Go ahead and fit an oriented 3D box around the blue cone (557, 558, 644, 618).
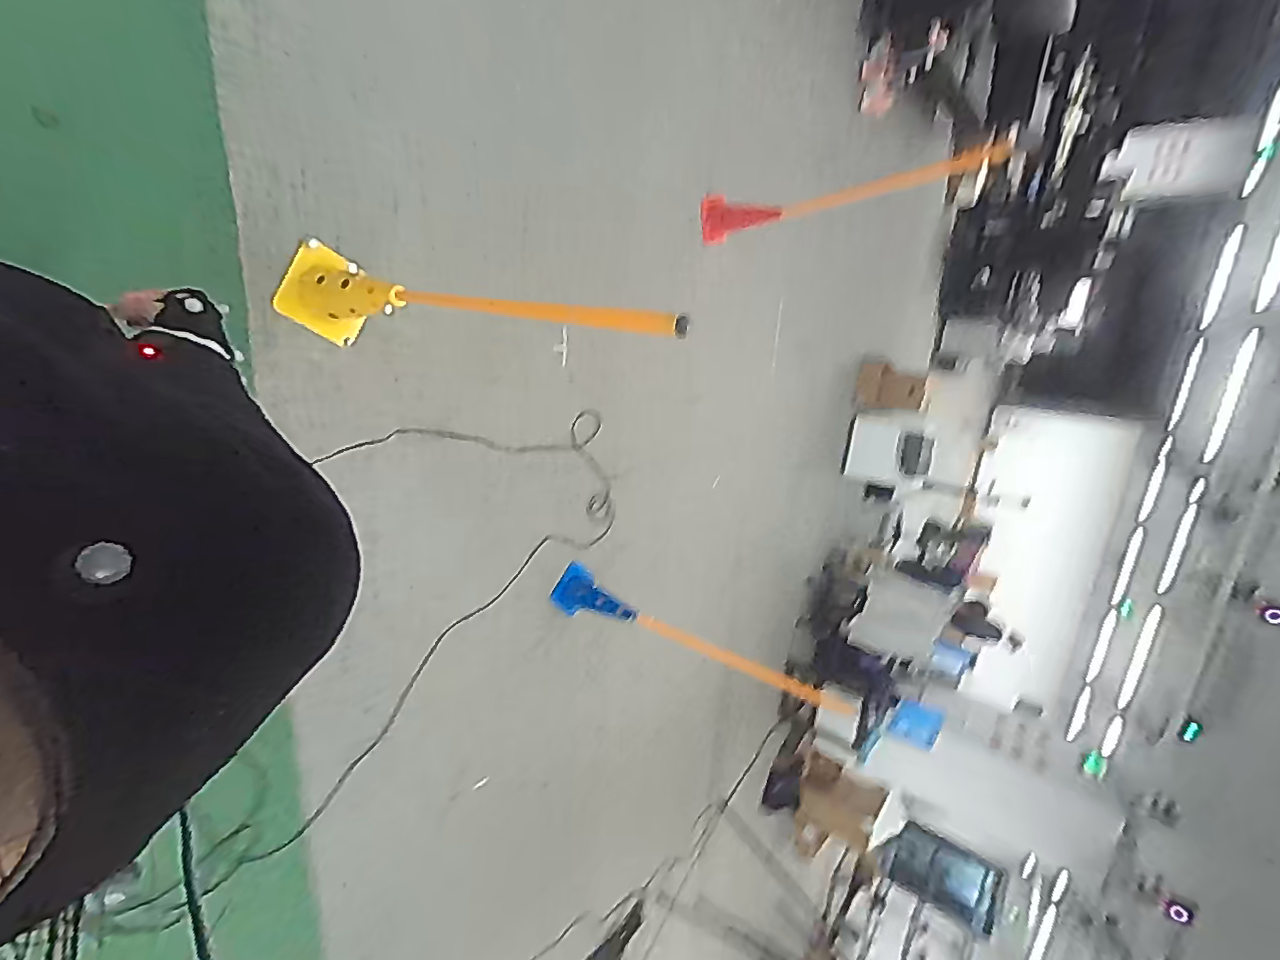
[{"bbox_3d":[-0.141,0.479,2.245,0.192,0.380,0.193,-60,143,-20],"label":"blue cone"}]
